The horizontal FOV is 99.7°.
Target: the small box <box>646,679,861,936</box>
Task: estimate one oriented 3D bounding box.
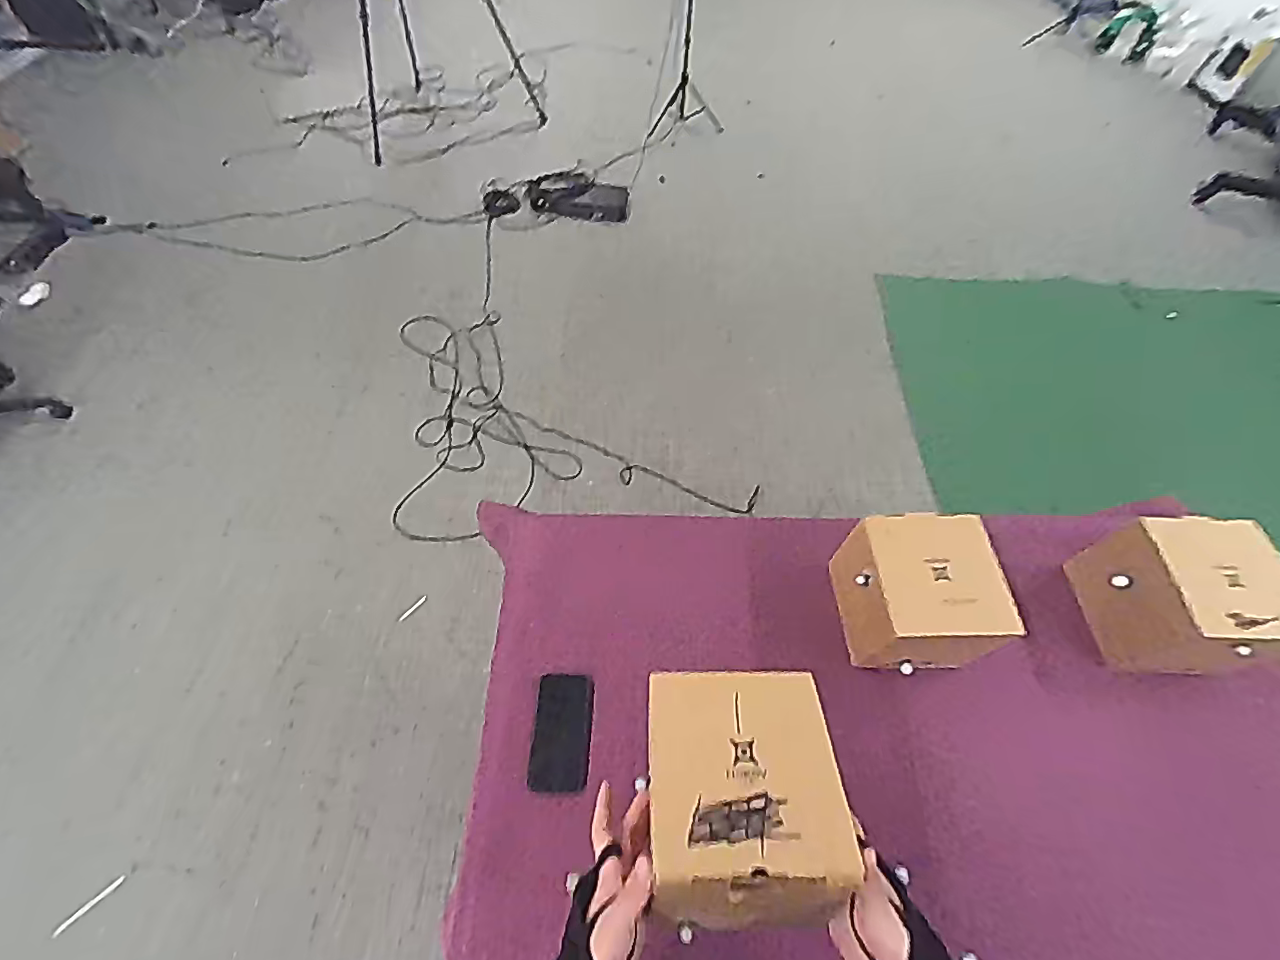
[{"bbox_3d":[0.090,0.316,0.522,0.168,0.176,0.179,-1,40,1],"label":"small box"}]

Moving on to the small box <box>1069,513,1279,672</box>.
[{"bbox_3d":[0.782,0.165,0.785,0.168,0.176,0.179,1,56,1],"label":"small box"}]

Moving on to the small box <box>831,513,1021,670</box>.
[{"bbox_3d":[0.393,0.164,0.785,0.168,0.176,0.179,-1,57,0],"label":"small box"}]
